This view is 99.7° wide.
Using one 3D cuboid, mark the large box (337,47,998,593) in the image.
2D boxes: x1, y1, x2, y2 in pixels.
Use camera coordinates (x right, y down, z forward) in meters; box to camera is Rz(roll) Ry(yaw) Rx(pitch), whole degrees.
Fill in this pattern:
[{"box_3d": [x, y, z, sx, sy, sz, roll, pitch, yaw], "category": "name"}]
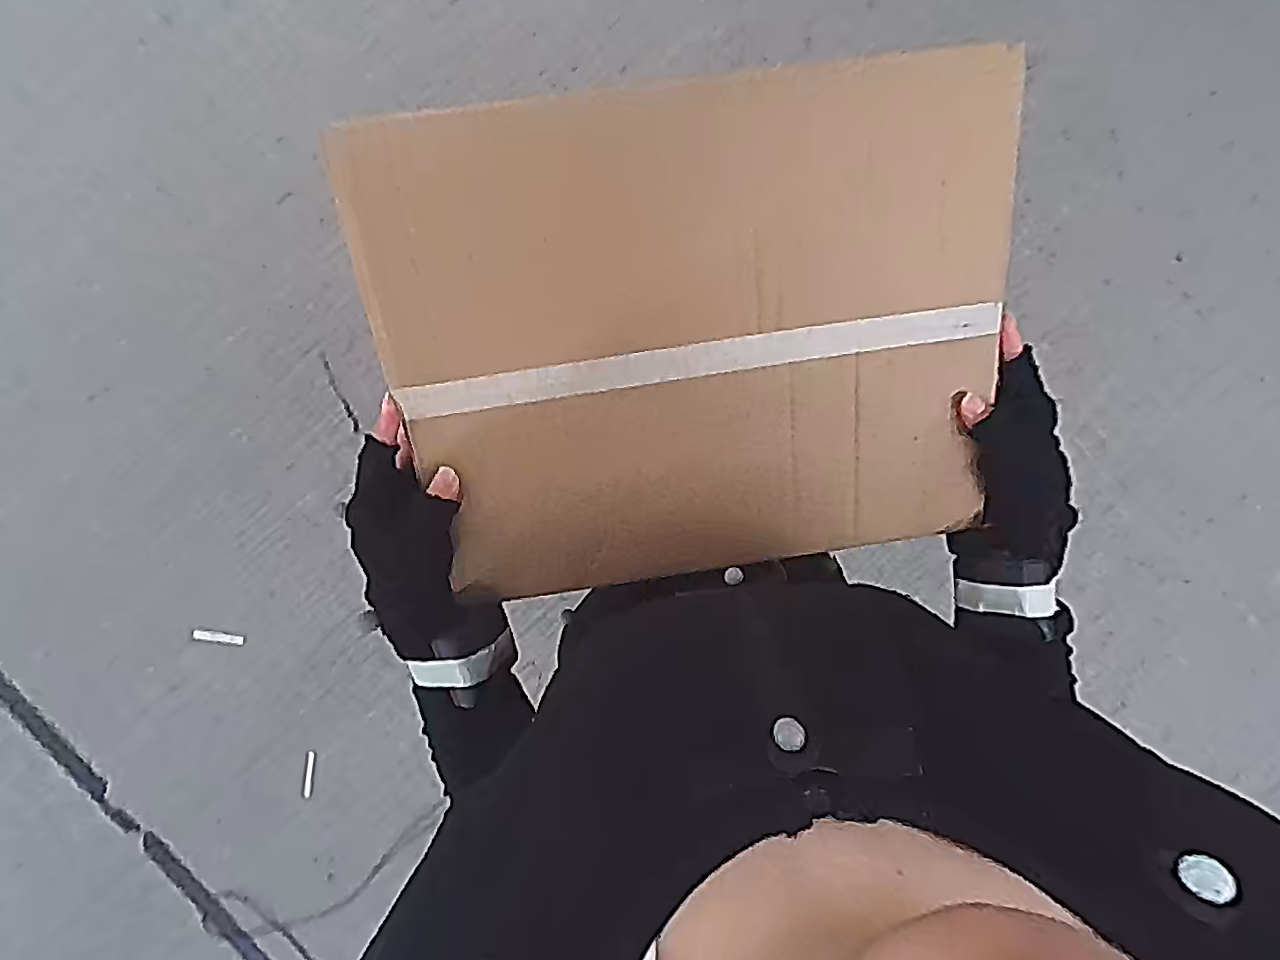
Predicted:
[{"box_3d": [0.025, -0.135, 0.506, 0.408, 0.320, 0.320, -9, 111, -3], "category": "large box"}]
